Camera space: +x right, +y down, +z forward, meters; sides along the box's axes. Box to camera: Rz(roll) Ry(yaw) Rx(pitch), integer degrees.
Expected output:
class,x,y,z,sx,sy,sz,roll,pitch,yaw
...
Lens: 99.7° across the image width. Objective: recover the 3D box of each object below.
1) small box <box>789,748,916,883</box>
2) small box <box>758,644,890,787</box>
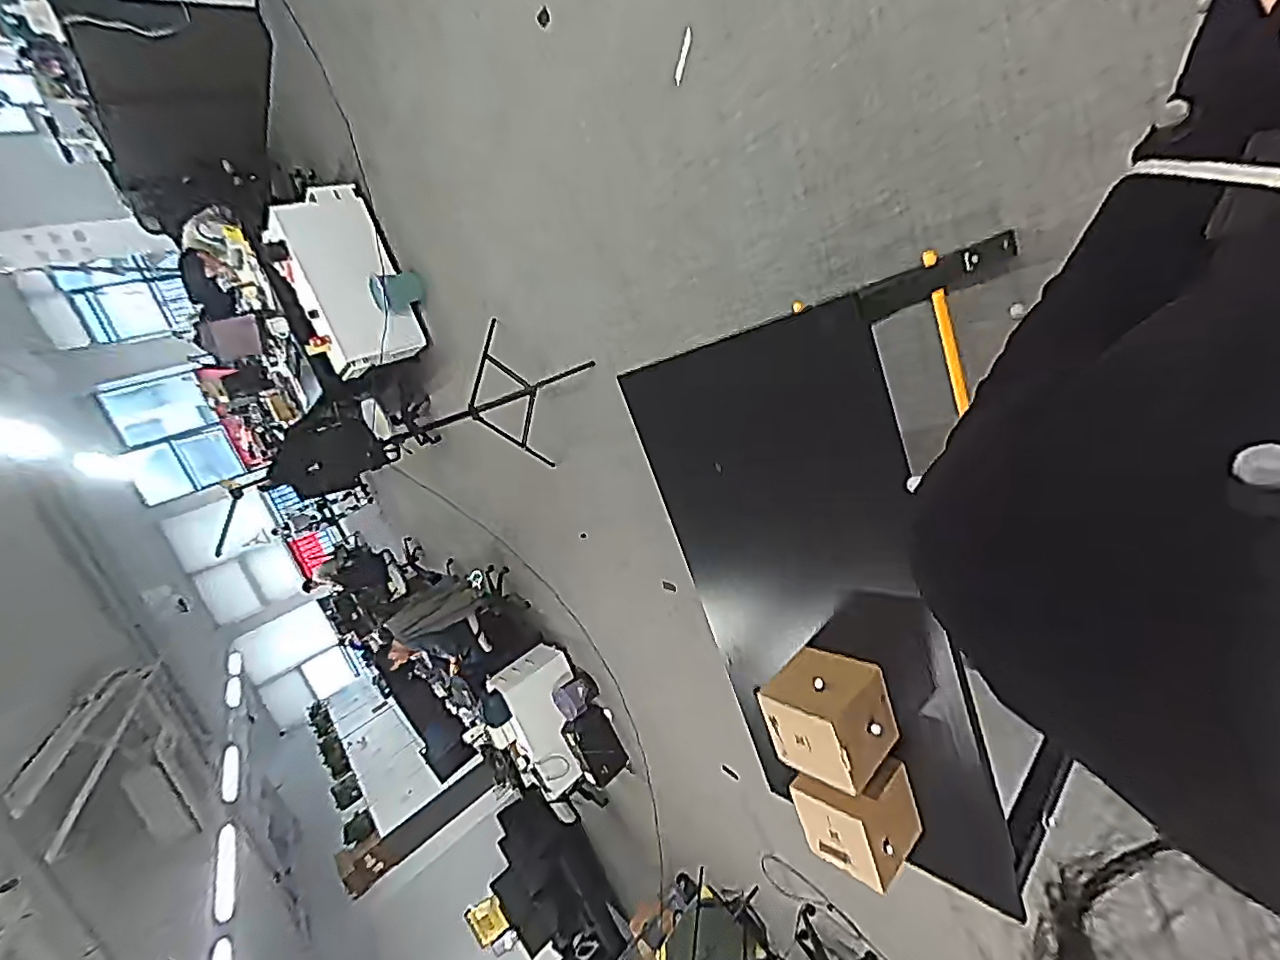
class,x,y,z,sx,sy,sz,roll,pitch,yaw
small box,0.444,0.662,1.119,0.168,0.176,0.179,-3,111,53
small box,0.369,0.449,1.064,0.179,0.176,0.168,-2,112,53
